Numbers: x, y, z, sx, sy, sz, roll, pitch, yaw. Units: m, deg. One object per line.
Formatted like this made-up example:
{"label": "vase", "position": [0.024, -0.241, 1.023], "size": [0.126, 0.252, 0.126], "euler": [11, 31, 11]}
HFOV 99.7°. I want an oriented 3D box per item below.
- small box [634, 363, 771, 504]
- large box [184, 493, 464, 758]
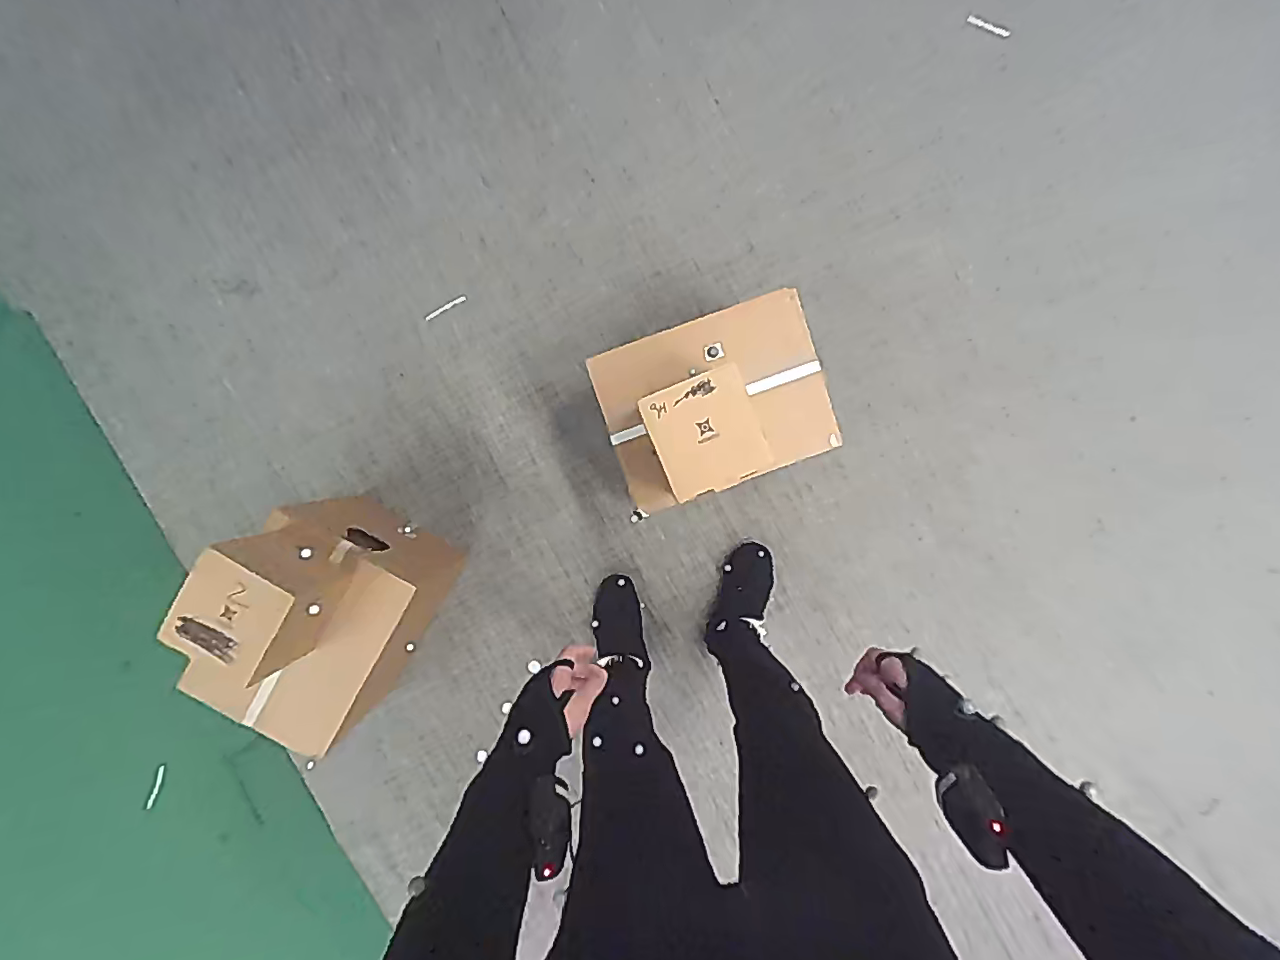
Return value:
{"label": "small box", "position": [0.098, -0.078, 0.906], "size": [0.168, 0.176, 0.179], "euler": [-22, 95, 1]}
{"label": "large box", "position": [-0.648, 0.283, 1.174], "size": [0.320, 0.320, 0.408], "euler": [30, 94, -1]}
